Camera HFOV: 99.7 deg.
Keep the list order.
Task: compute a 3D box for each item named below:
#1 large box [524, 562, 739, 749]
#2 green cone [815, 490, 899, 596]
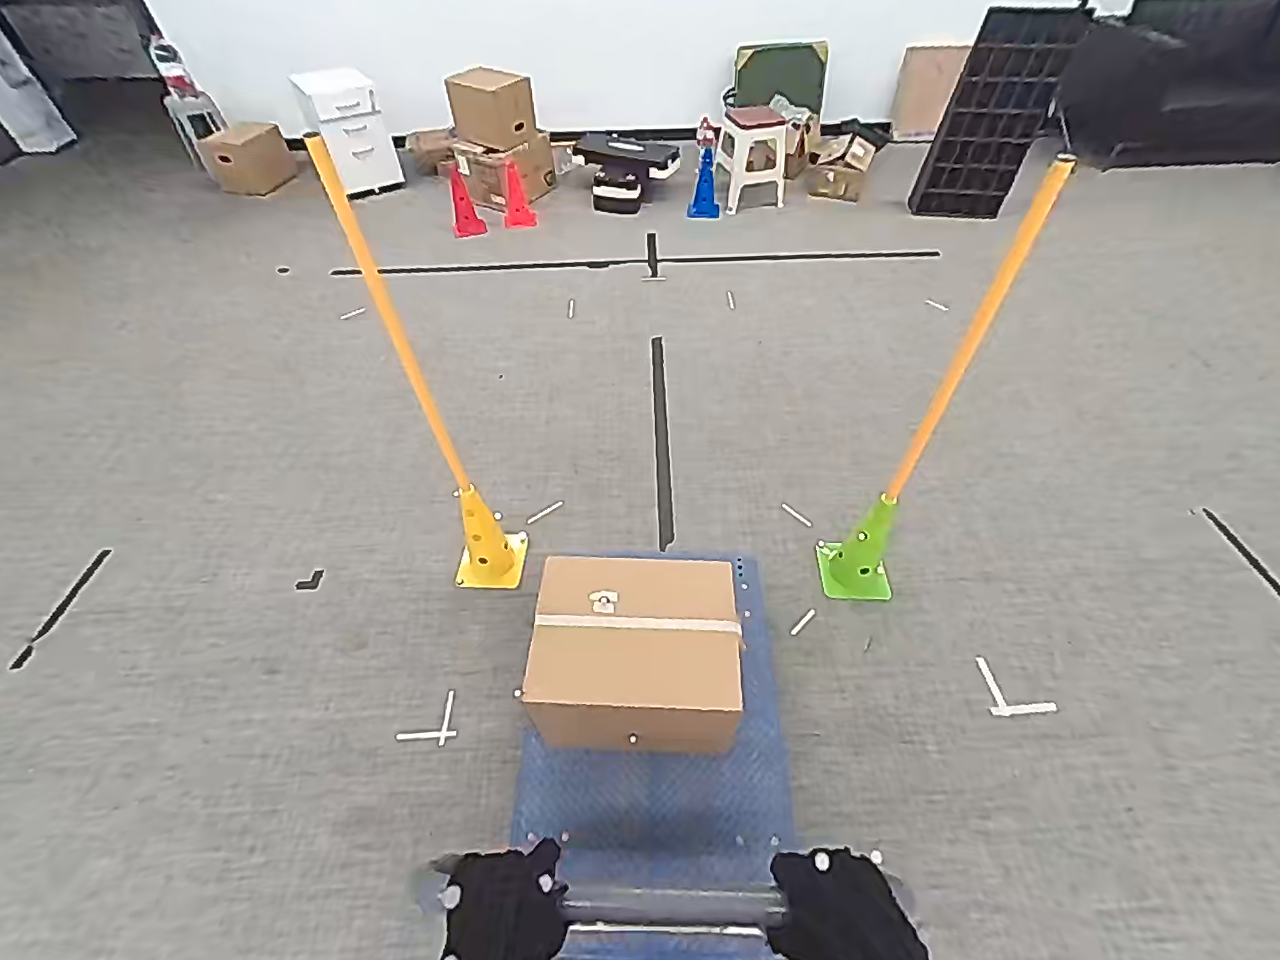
[{"bbox_3d":[-0.006,0.392,1.198,0.408,0.320,0.320,1,49,3],"label":"large box"},{"bbox_3d":[0.663,0.162,1.569,0.202,0.368,0.200,2,49,2],"label":"green cone"}]
